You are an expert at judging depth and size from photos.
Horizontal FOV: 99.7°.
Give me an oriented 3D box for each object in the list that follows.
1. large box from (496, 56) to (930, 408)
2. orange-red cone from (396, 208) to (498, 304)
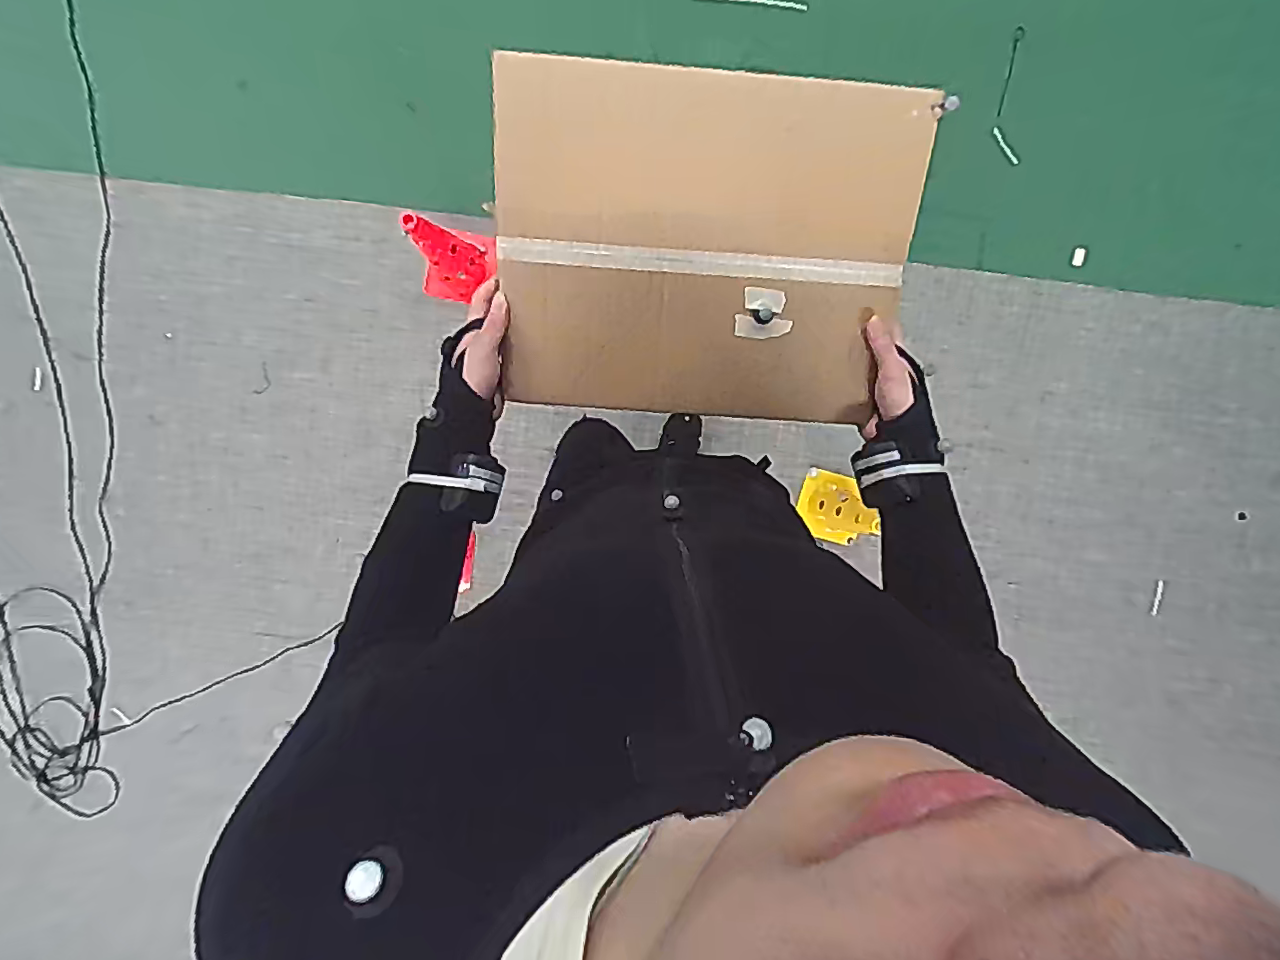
[{"bbox_3d":[0.058,-0.283,0.680,0.408,0.320,0.320,2,113,-3],"label":"large box"},{"bbox_3d":[-0.531,-0.610,1.397,0.199,0.360,0.198,14,95,1],"label":"orange-red cone"}]
